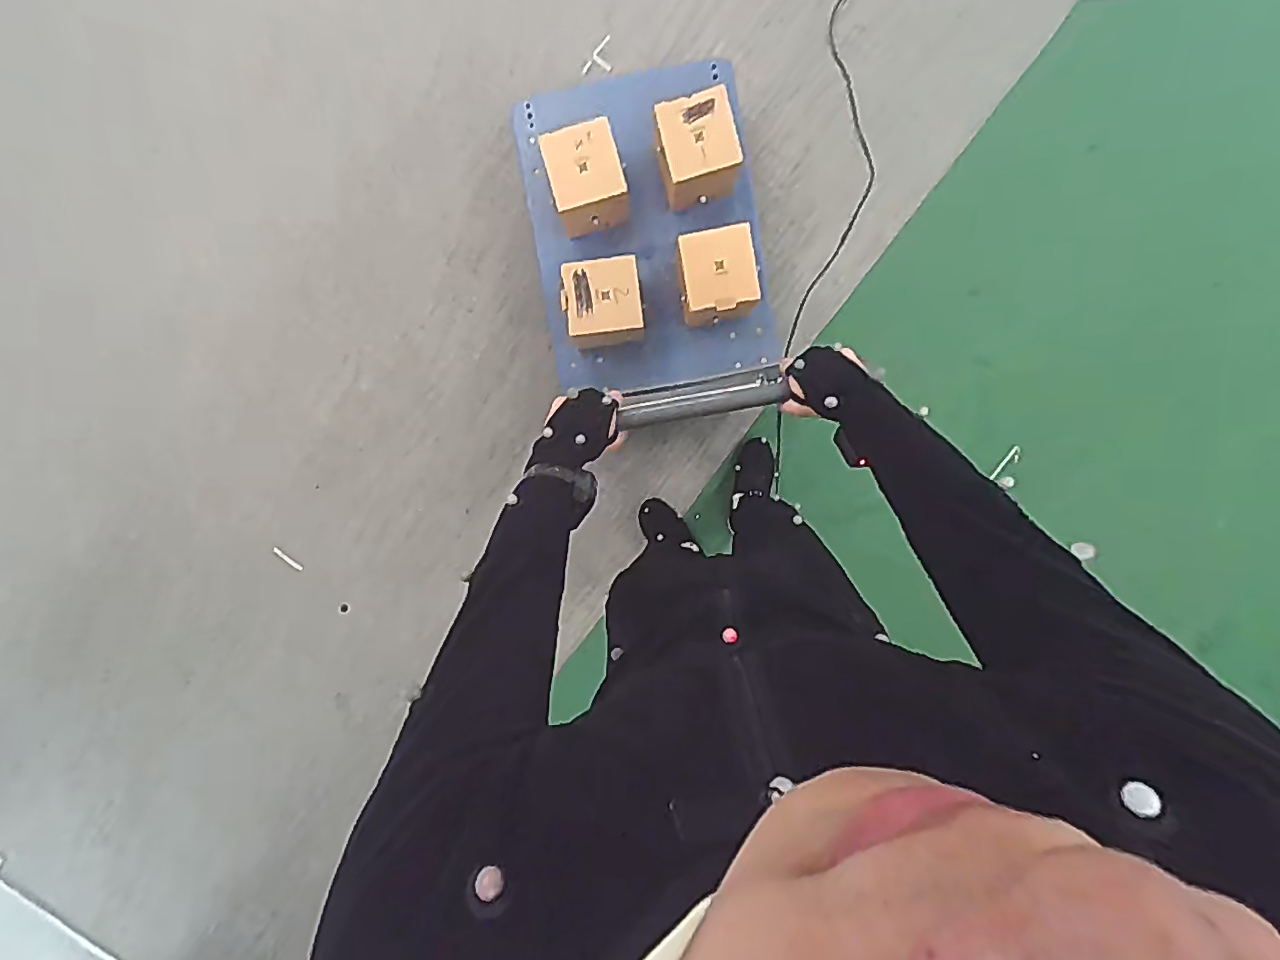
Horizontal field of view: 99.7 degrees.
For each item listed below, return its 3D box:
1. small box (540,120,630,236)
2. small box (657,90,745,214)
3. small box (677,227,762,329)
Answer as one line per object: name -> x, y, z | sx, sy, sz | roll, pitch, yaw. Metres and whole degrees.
small box -> -0.124, -0.710, 1.298 | 0.168, 0.176, 0.179 | -15, 93, 1
small box -> 0.137, -0.772, 1.288 | 0.168, 0.176, 0.179 | -15, 94, 3
small box -> 0.186, -0.480, 1.308 | 0.168, 0.176, 0.179 | -10, 94, 2
